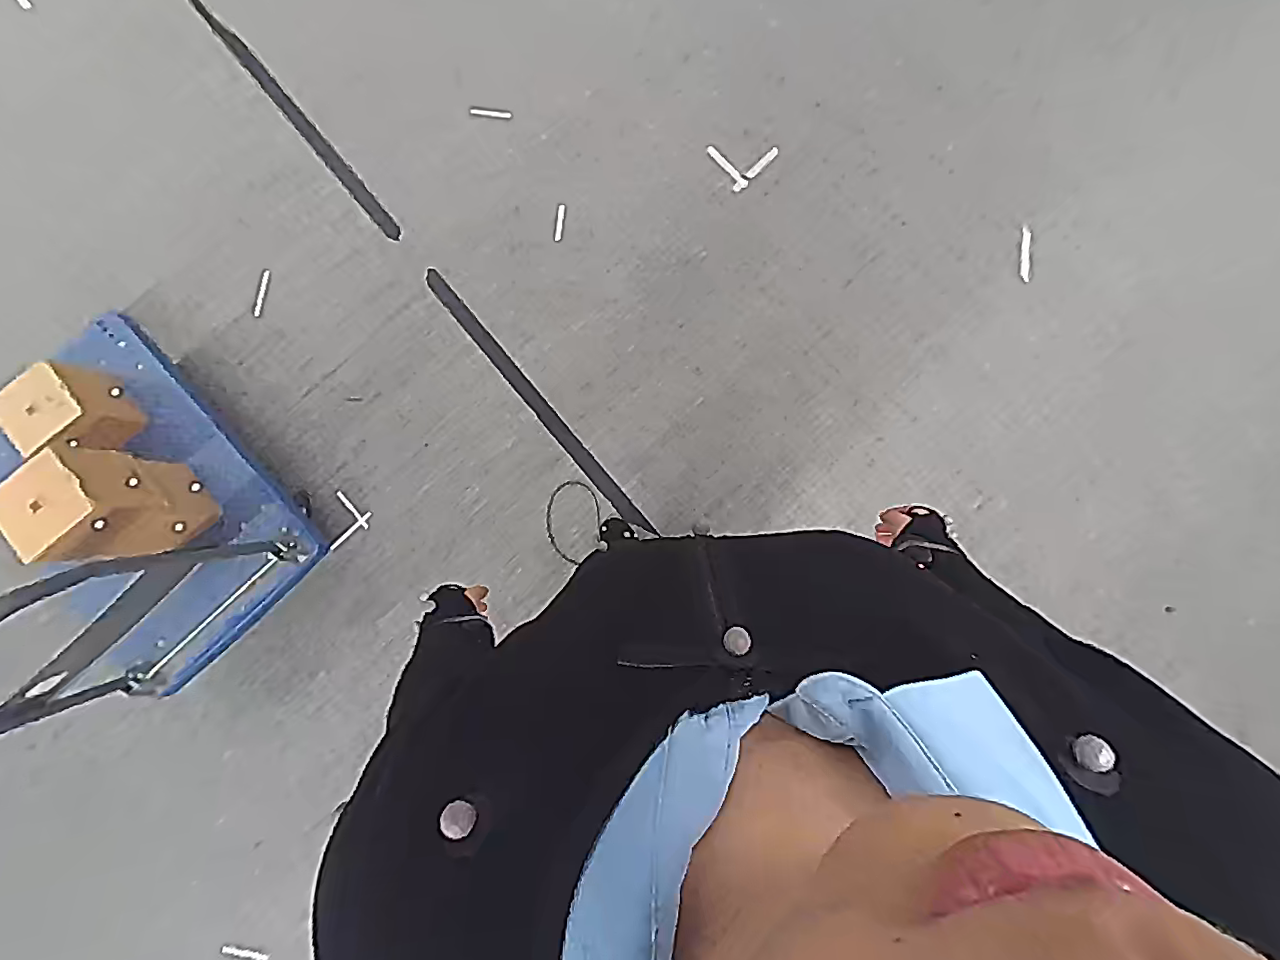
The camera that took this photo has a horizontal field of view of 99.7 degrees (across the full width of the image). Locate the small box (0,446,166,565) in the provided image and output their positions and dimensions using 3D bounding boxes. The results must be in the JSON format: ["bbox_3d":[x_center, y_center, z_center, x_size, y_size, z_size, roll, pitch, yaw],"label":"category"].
[{"bbox_3d":[-1.165,0.055,1.126,0.179,0.176,0.168,-41,86,-2],"label":"small box"}]

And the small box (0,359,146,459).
[{"bbox_3d":[-1.373,-0.157,1.306,0.179,0.176,0.168,-38,87,0],"label":"small box"}]
